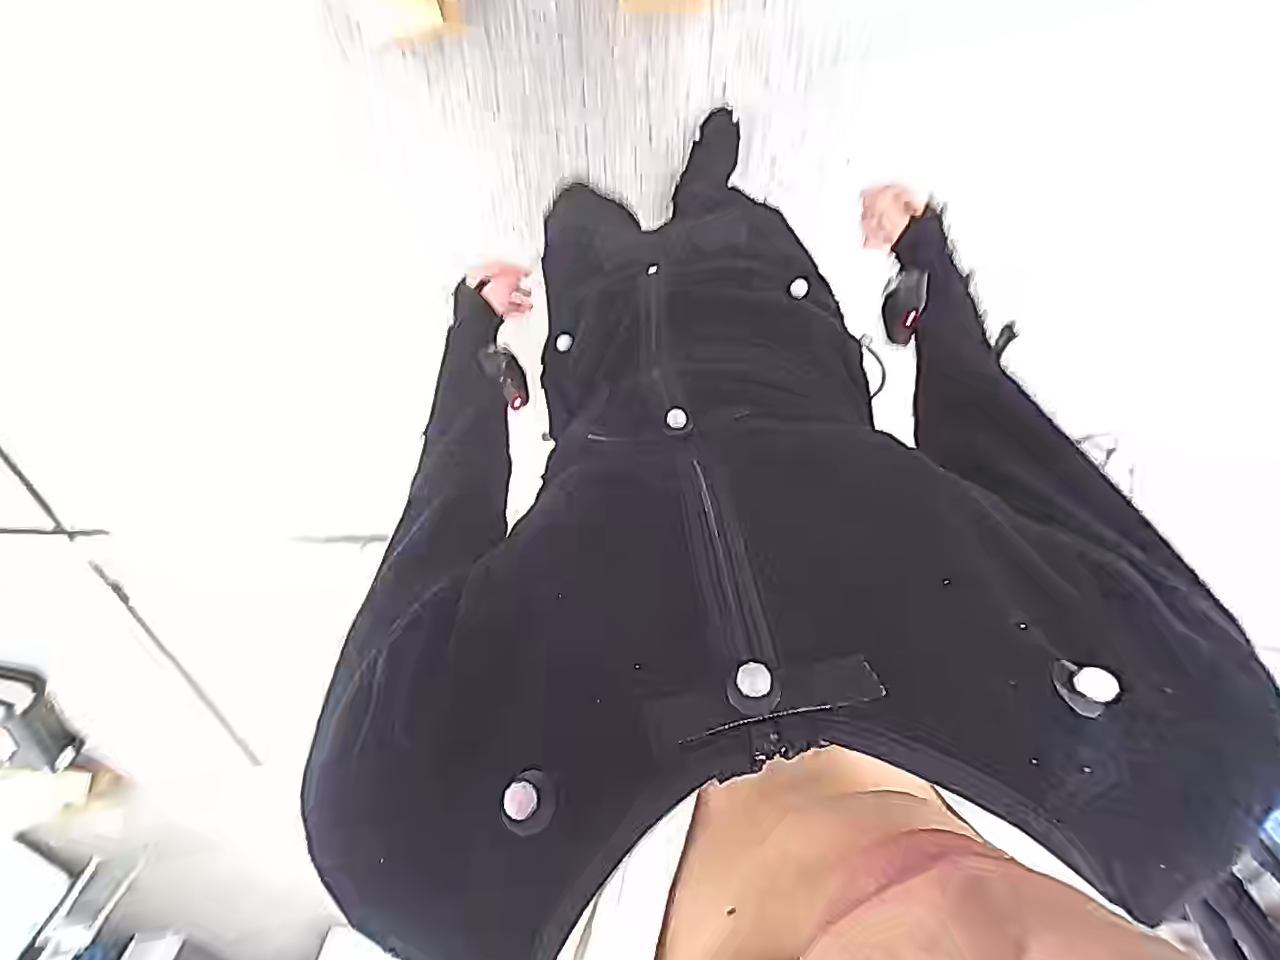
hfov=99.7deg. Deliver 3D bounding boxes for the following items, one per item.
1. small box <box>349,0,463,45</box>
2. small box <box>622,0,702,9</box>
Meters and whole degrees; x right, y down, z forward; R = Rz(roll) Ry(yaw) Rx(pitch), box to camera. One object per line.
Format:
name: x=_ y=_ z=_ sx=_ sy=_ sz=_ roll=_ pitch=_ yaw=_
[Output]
small box: x=-0.474 y=-0.990 z=1.064 sx=0.168 sy=0.176 sz=0.179 roll=-8 pitch=125 yaw=8
small box: x=0.045 y=-1.019 z=1.031 sx=0.179 sy=0.176 sz=0.168 roll=1 pitch=125 yaw=0
